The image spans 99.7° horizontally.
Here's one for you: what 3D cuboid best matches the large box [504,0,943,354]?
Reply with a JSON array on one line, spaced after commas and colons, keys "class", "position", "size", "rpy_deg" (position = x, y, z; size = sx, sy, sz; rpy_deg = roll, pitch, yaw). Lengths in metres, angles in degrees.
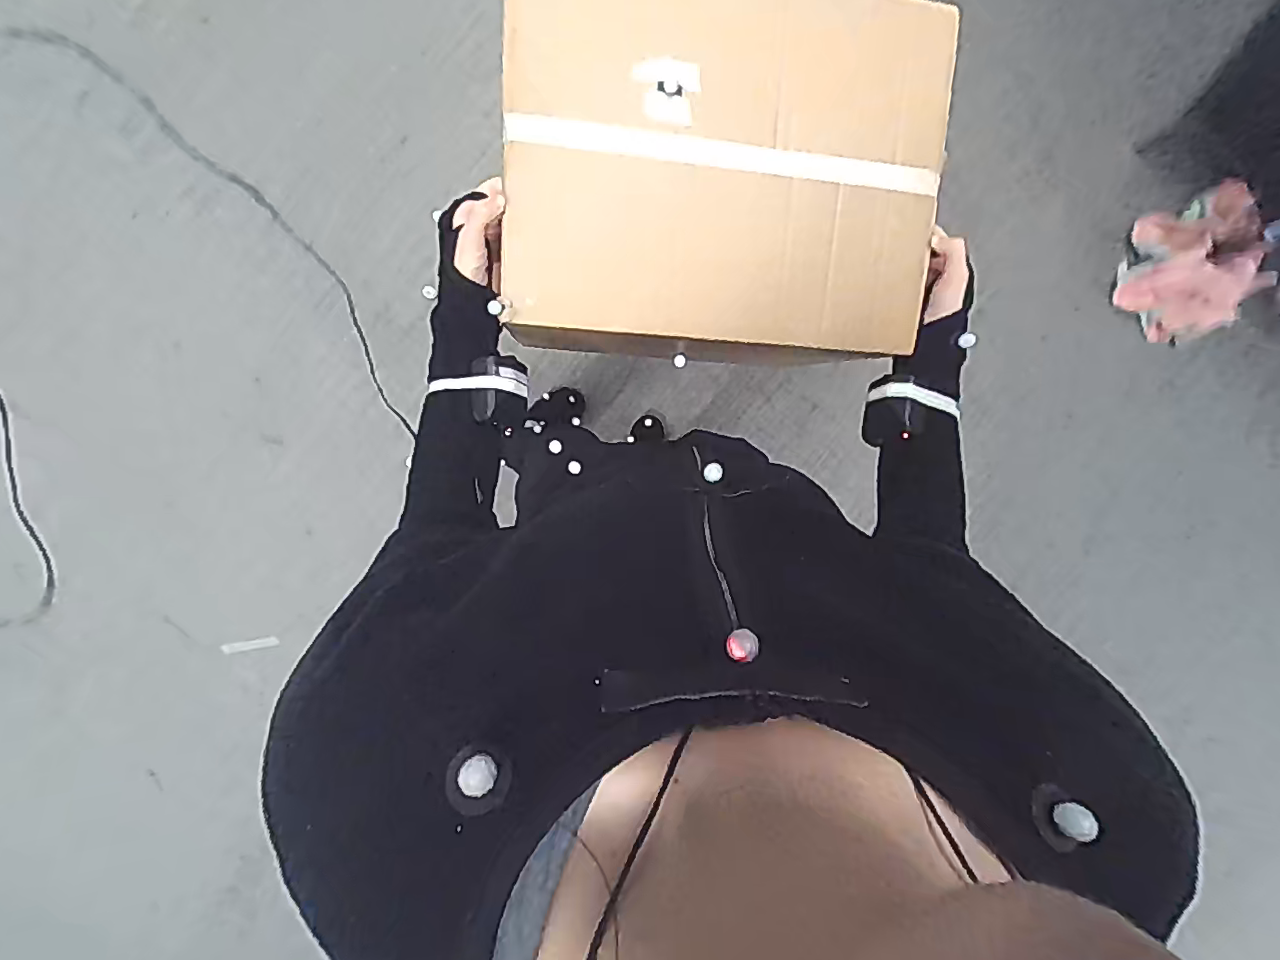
[{"class": "large box", "position": [0.060, -0.317, 0.641], "size": [0.408, 0.320, 0.320], "rpy_deg": [1, 99, -8]}]
